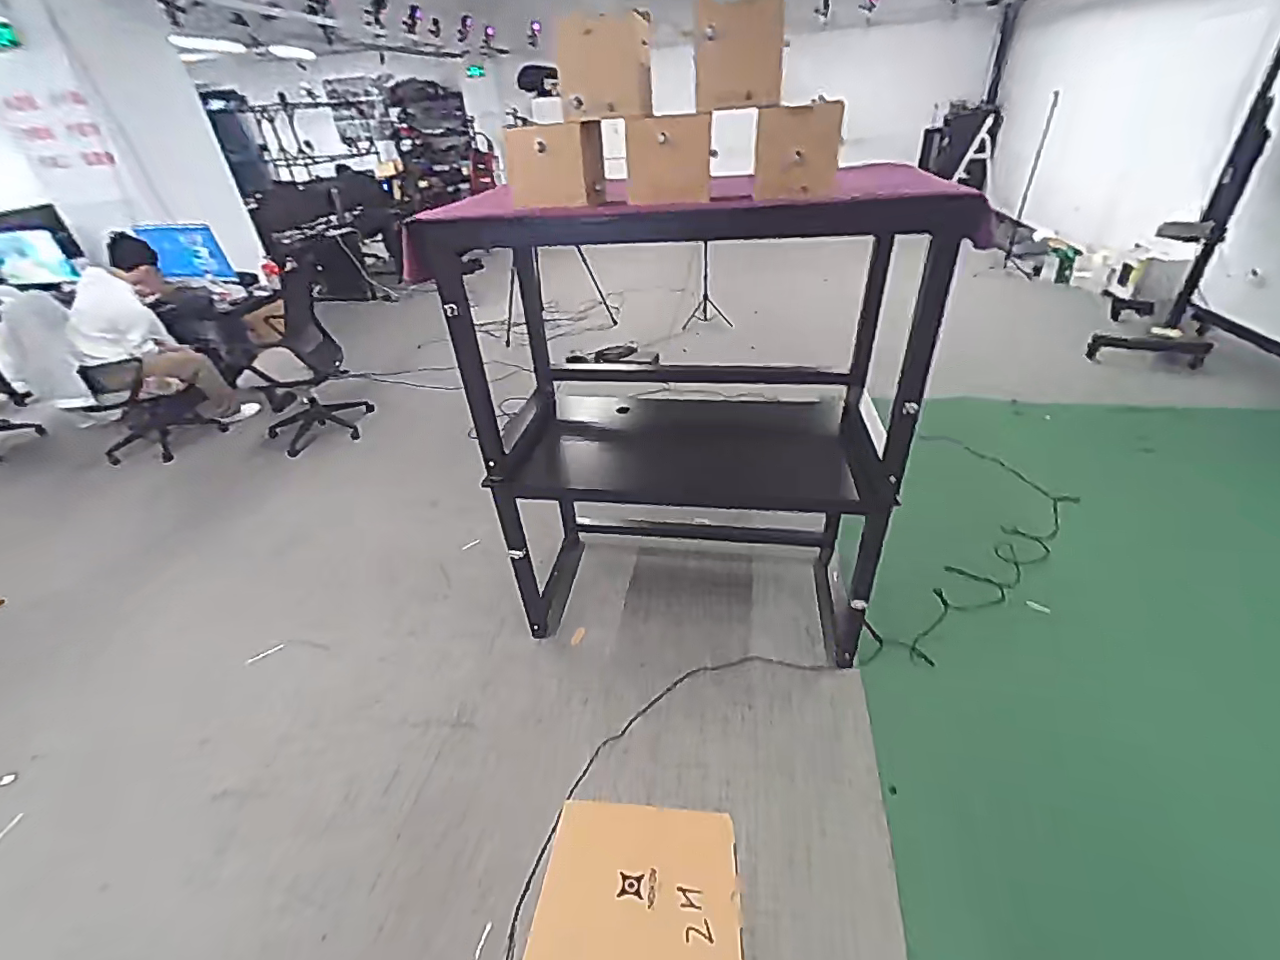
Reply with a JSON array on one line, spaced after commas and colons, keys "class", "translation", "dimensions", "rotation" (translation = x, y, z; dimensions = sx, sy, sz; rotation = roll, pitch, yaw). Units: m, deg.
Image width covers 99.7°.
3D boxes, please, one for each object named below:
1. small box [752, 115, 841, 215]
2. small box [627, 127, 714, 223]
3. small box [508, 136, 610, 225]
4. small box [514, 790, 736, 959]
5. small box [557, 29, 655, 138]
[{"class": "small box", "translation": [0.331, -0.673, 1.161], "dimensions": [0.168, 0.176, 0.179], "rotation": [4, 35, 12]}, {"class": "small box", "translation": [0.074, -0.680, 1.206], "dimensions": [0.179, 0.176, 0.168], "rotation": [1, 33, 9]}, {"class": "small box", "translation": [-0.179, -0.692, 1.251], "dimensions": [0.179, 0.176, 0.168], "rotation": [6, 34, 13]}, {"class": "small box", "translation": [-0.004, 0.430, 0.507], "dimensions": [0.179, 0.176, 0.168], "rotation": [2, 17, 5]}, {"class": "small box", "translation": [-0.062, -0.831, 1.150], "dimensions": [0.168, 0.176, 0.179], "rotation": [3, 33, 10]}]
